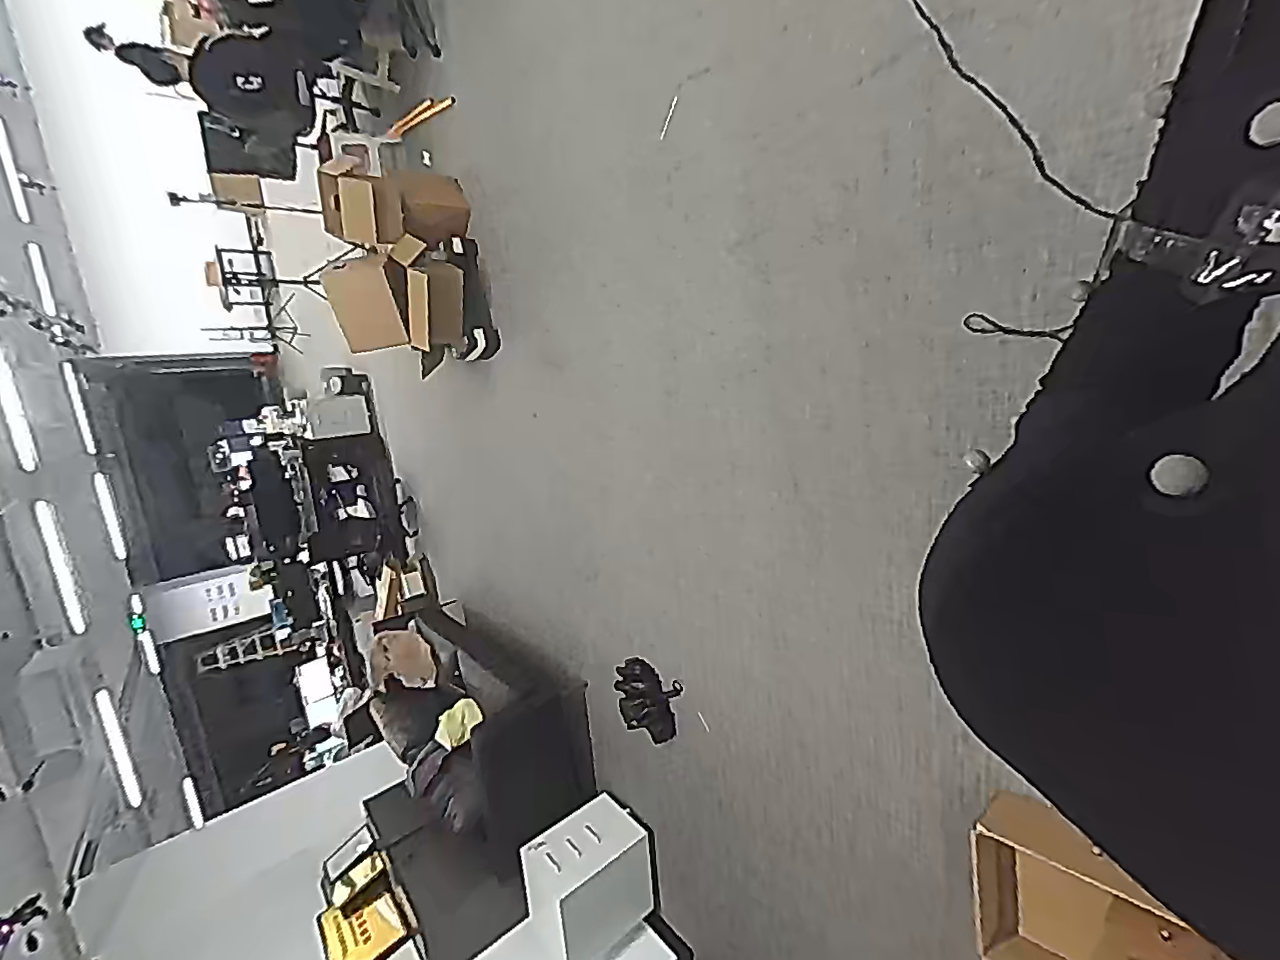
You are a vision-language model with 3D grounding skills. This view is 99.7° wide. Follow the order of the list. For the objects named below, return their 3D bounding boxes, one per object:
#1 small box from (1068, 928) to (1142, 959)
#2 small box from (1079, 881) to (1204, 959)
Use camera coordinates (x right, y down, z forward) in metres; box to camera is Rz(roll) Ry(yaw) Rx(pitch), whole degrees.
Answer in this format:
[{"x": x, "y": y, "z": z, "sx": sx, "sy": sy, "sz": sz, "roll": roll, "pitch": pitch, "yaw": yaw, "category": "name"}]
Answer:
[{"x": 0.958, "y": 1.064, "z": 1.075, "sx": 0.168, "sy": 0.176, "sz": 0.179, "roll": 3, "pitch": 105, "yaw": 54, "category": "small box"}, {"x": 1.083, "y": 1.022, "z": 1.168, "sx": 0.179, "sy": 0.176, "sz": 0.168, "roll": 0, "pitch": 102, "yaw": 51, "category": "small box"}]
